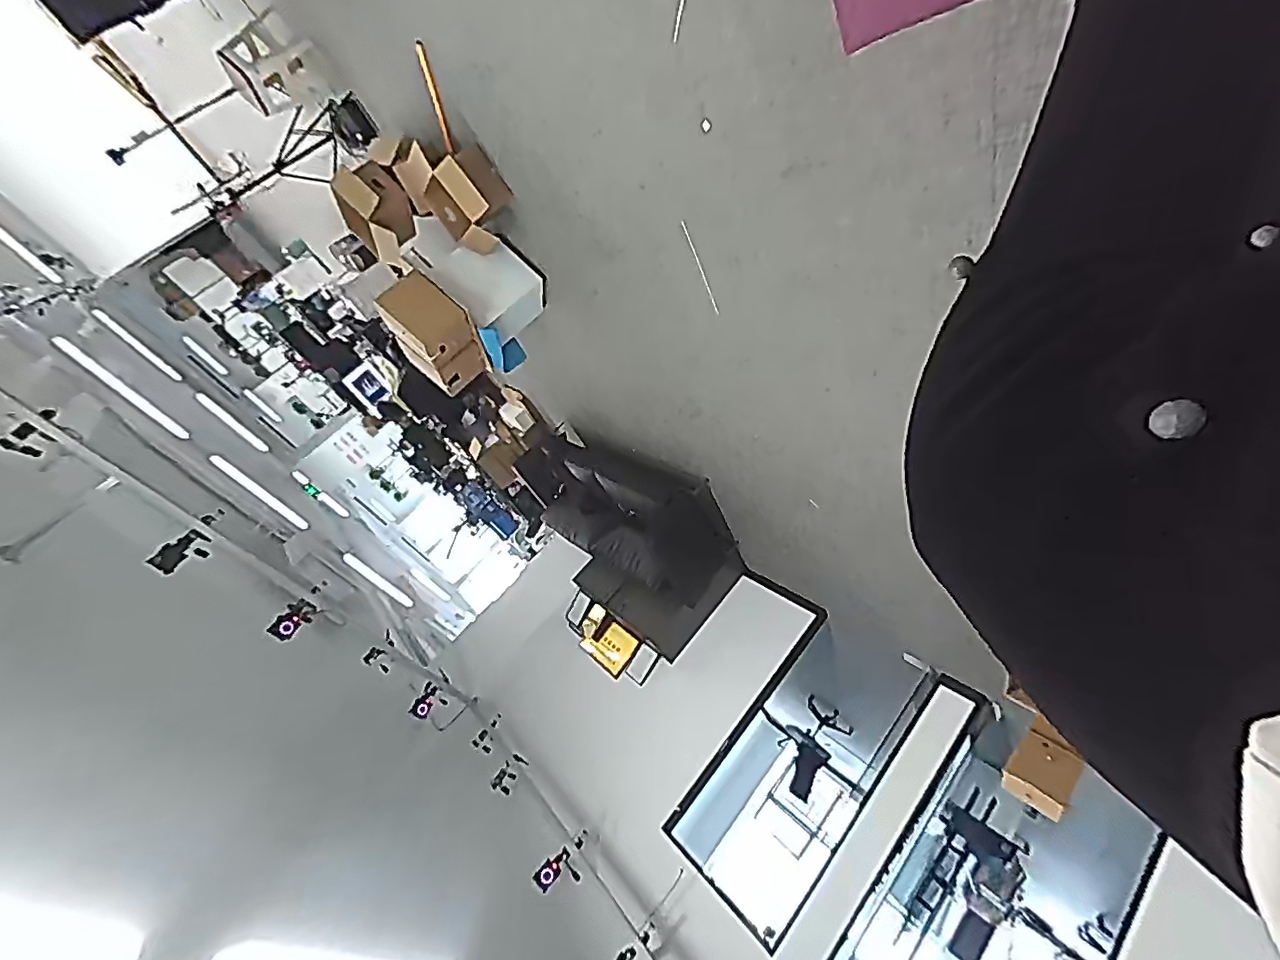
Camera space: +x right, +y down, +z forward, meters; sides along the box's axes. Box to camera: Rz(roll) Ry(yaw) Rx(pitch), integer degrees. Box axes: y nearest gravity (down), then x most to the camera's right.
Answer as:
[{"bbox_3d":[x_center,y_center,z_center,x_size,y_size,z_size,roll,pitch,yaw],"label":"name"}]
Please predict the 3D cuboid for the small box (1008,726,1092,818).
[{"bbox_3d":[1.323,0.940,1.748,0.168,0.176,0.179,26,154,45],"label":"small box"}]

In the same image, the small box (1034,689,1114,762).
[{"bbox_3d":[1.440,0.838,1.808,0.168,0.176,0.179,28,155,43],"label":"small box"}]
